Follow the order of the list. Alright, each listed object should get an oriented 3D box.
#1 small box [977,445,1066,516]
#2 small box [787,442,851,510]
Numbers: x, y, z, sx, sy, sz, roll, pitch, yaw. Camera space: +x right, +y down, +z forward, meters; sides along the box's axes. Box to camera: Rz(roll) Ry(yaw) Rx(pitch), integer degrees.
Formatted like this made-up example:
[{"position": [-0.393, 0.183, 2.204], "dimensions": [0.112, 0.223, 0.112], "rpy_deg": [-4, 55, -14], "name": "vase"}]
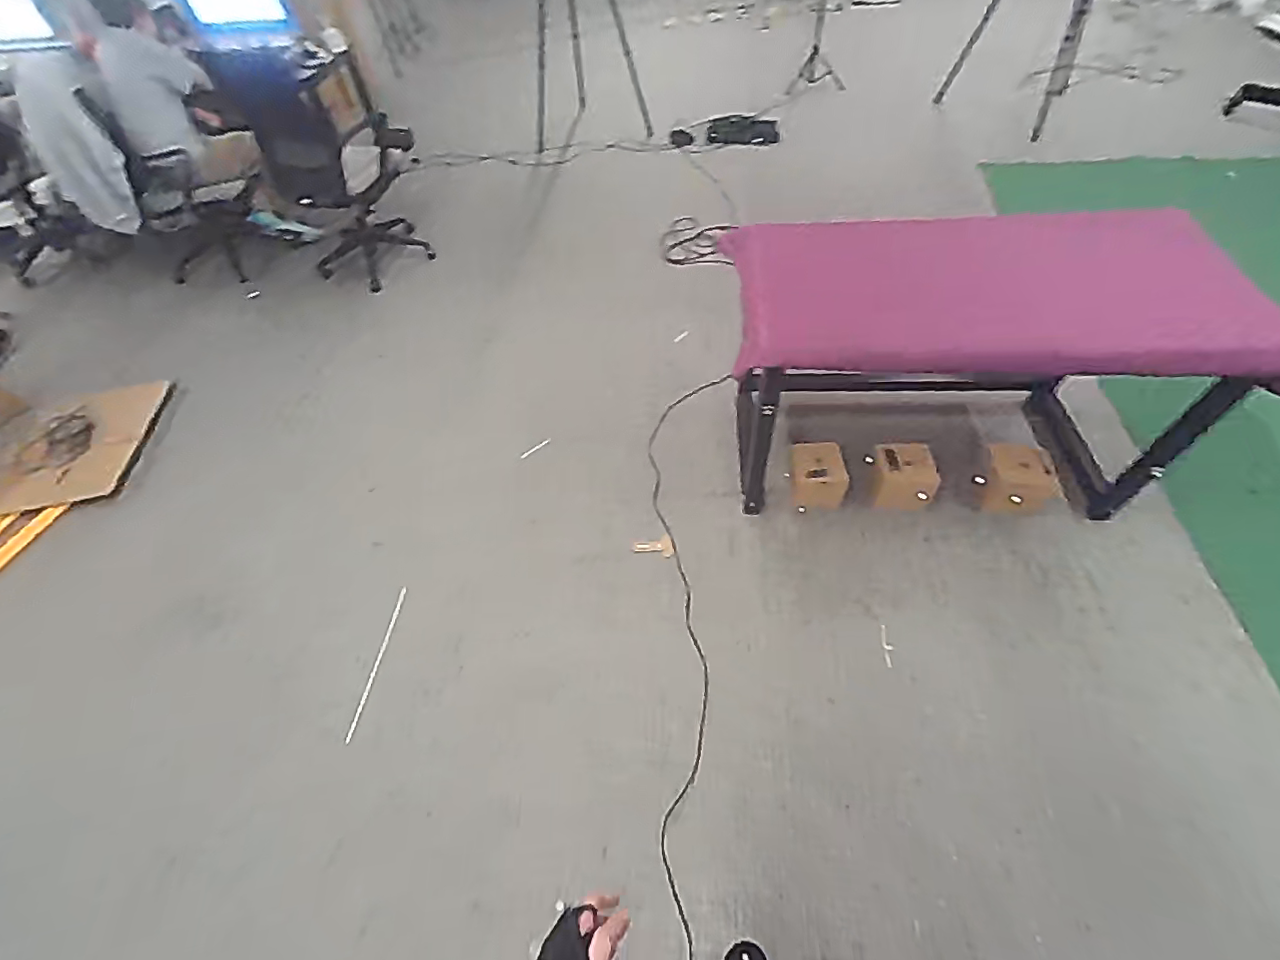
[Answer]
[{"position": [1.243, 0.004, 1.781], "dimensions": [0.179, 0.176, 0.168], "rpy_deg": [3, 53, 9], "name": "small box"}, {"position": [0.608, -0.007, 1.854], "dimensions": [0.168, 0.176, 0.179], "rpy_deg": [-3, 52, 4], "name": "small box"}]
